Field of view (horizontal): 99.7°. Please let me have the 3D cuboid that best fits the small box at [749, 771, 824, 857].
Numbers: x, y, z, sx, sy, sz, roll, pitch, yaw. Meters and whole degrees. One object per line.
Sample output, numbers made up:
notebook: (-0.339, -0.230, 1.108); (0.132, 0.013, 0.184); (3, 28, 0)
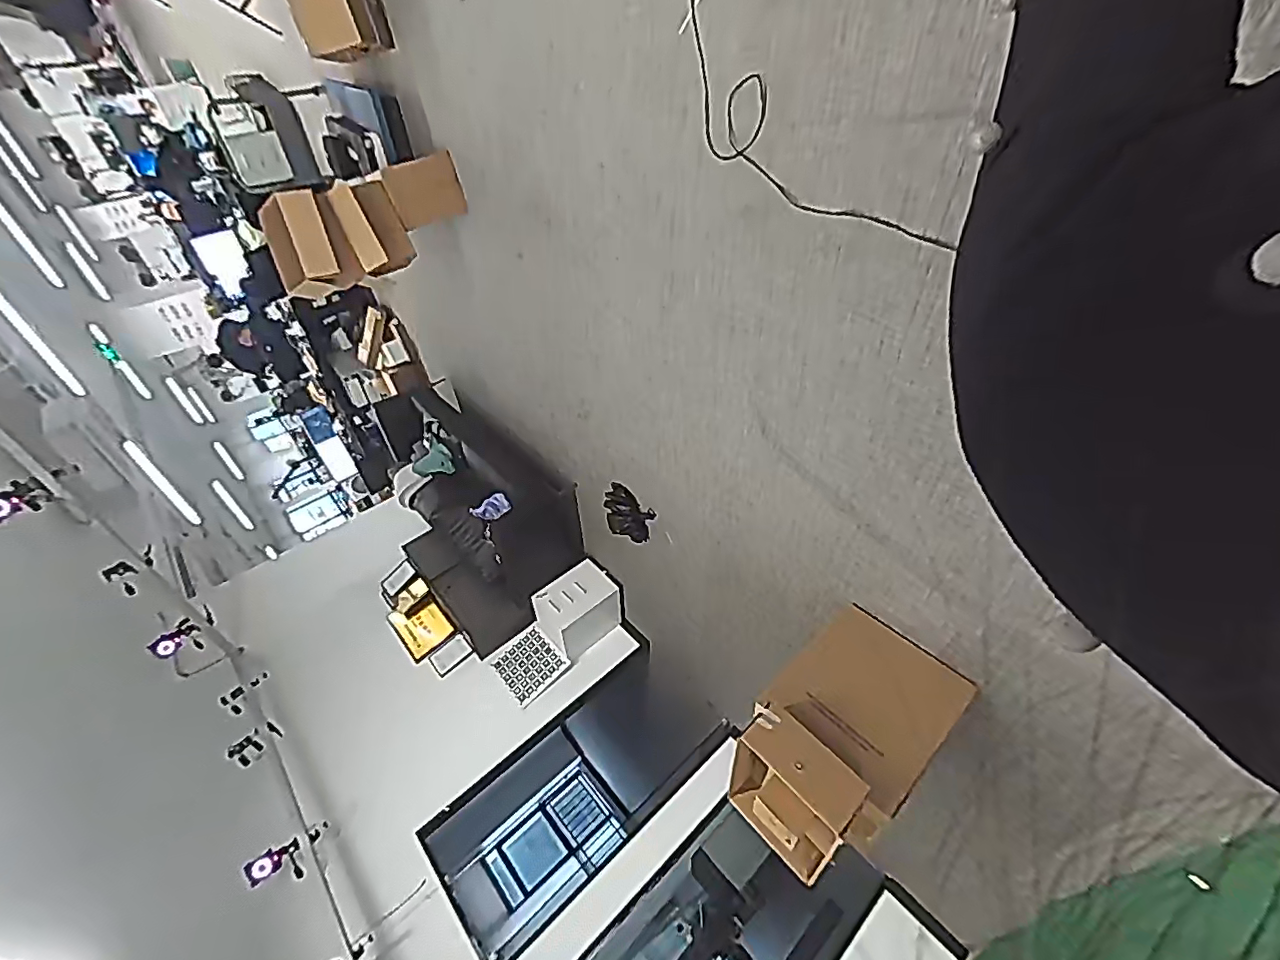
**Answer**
small box: (0.500, 1.139, 1.859); (0.179, 0.176, 0.168); (37, 148, 37)
